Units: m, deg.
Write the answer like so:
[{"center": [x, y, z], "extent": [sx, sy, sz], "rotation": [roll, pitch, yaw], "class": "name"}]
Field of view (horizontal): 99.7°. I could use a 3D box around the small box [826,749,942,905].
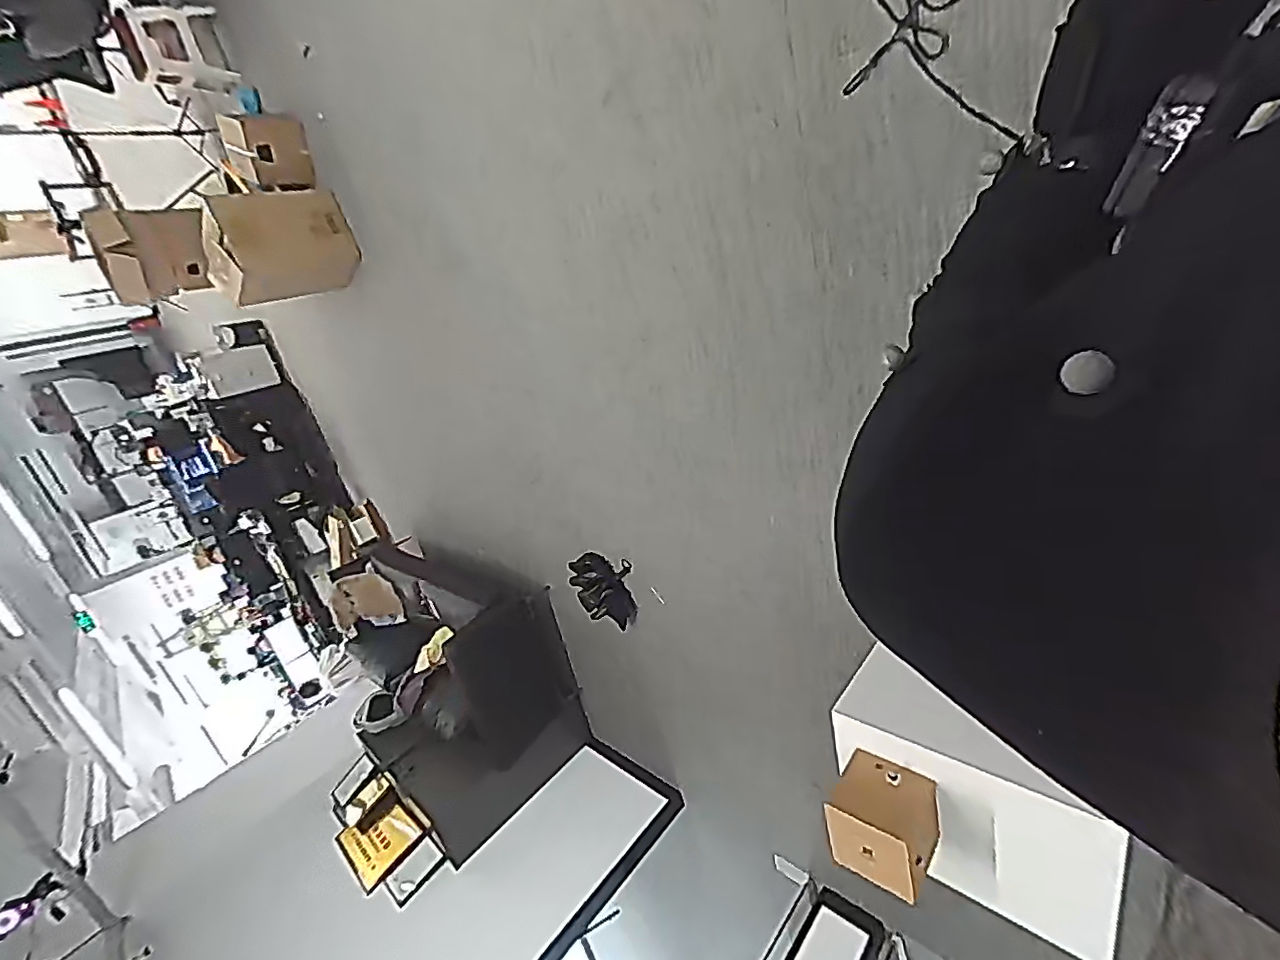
[{"center": [0.513, 0.711, 1.128], "extent": [0.168, 0.176, 0.179], "rotation": [4, 115, 45], "class": "small box"}]
